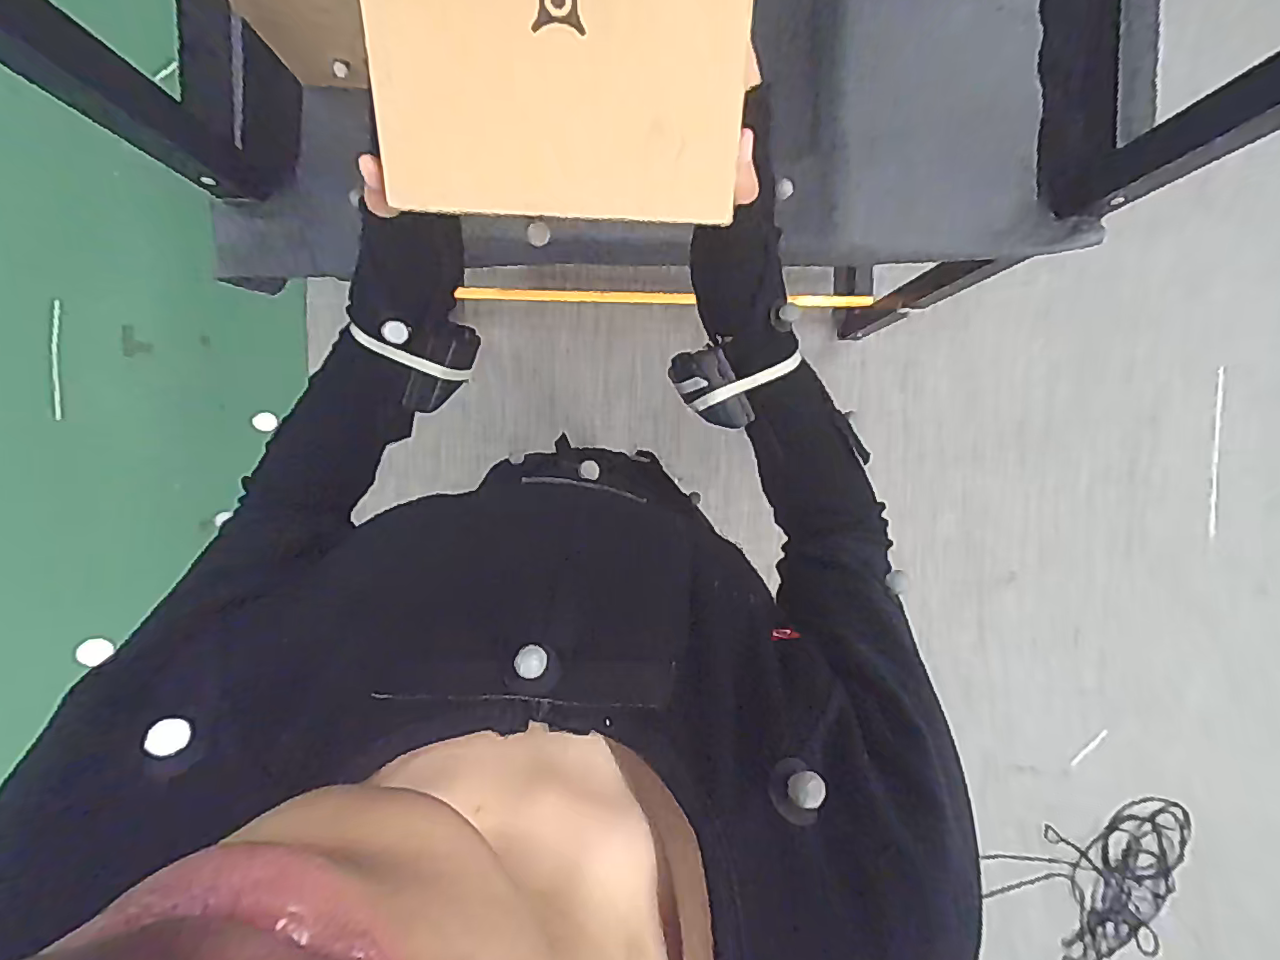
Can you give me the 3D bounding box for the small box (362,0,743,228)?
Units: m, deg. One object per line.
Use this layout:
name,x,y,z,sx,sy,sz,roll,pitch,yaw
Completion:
small box,-0.039,-0.241,0.302,0.168,0.176,0.179,0,115,-3

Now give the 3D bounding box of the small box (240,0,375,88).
small box,-0.363,-0.602,0.632,0.168,0.176,0.179,1,94,-2
